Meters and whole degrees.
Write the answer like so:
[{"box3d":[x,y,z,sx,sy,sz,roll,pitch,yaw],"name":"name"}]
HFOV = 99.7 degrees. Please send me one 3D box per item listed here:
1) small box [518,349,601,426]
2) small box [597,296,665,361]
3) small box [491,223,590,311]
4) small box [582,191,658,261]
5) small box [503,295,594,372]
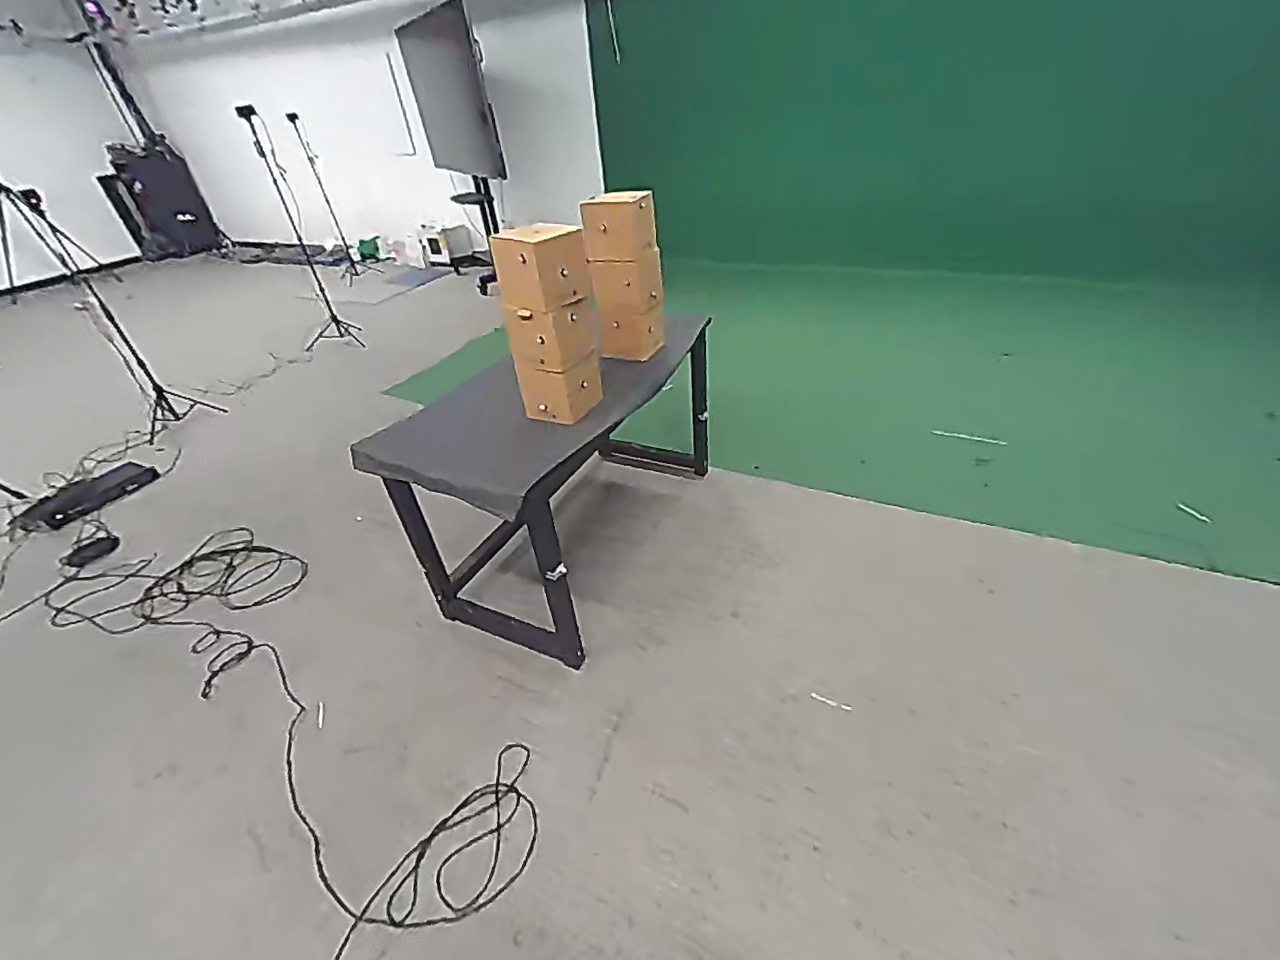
[{"box3d":[-0.226,-0.279,1.569,0.168,0.176,0.179,13,41,25],"name":"small box"},{"box3d":[-0.025,-0.526,1.880,0.179,0.176,0.168,12,40,25],"name":"small box"},{"box3d":[-0.246,-0.540,1.374,0.179,0.176,0.168,24,45,34],"name":"small box"},{"box3d":[-0.057,-0.790,1.687,0.179,0.176,0.168,9,39,22],"name":"small box"},{"box3d":[-0.239,-0.407,1.471,0.168,0.176,0.179,15,40,25],"name":"small box"}]
